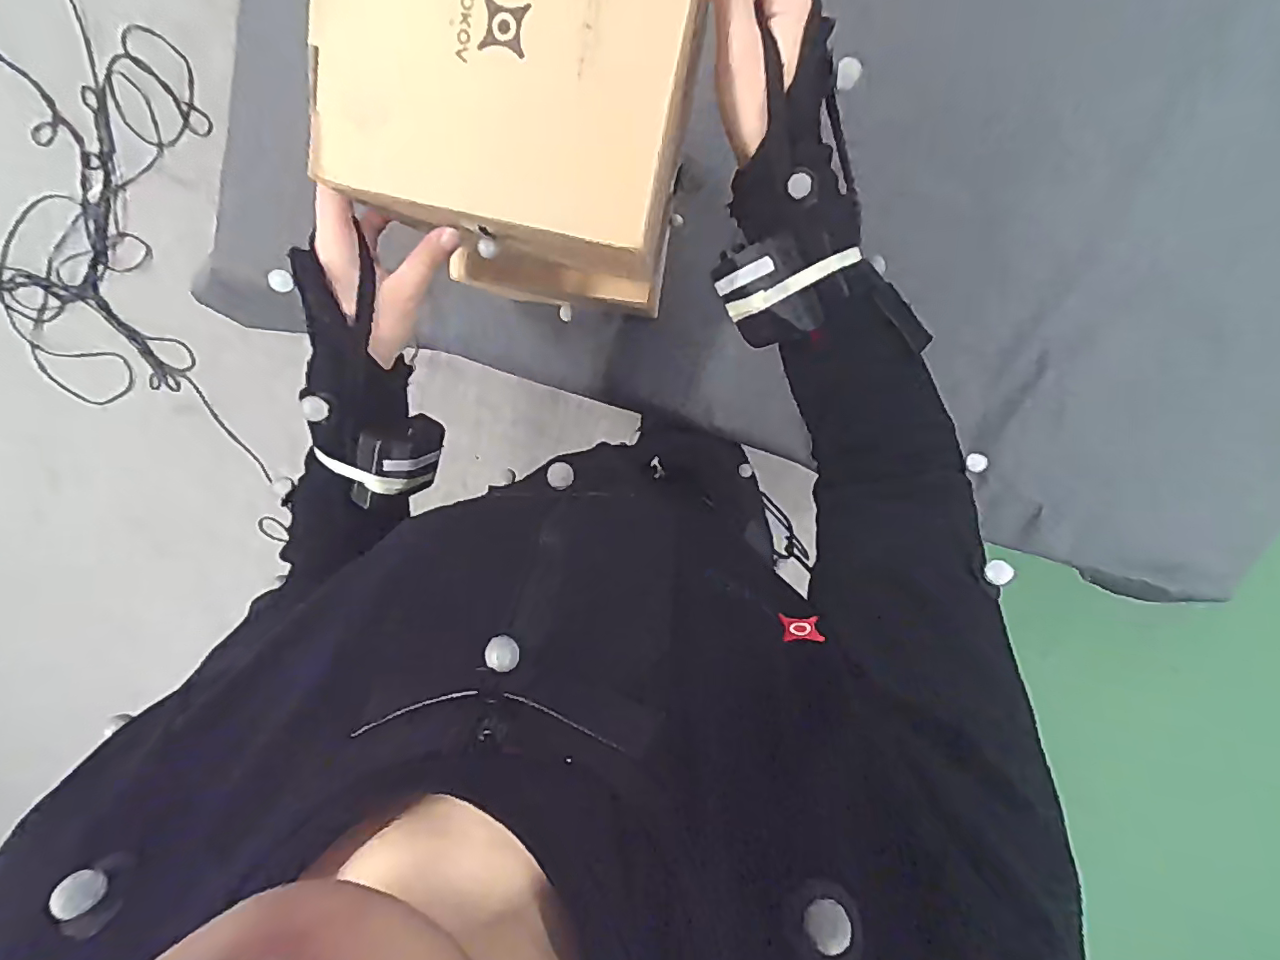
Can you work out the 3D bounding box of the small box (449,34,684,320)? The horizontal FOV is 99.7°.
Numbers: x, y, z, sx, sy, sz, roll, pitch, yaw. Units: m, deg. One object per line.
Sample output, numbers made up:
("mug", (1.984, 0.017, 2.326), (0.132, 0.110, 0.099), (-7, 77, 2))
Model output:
("small box", (-0.055, -0.250, 0.490), (0.168, 0.176, 0.179), (9, 104, 3))
